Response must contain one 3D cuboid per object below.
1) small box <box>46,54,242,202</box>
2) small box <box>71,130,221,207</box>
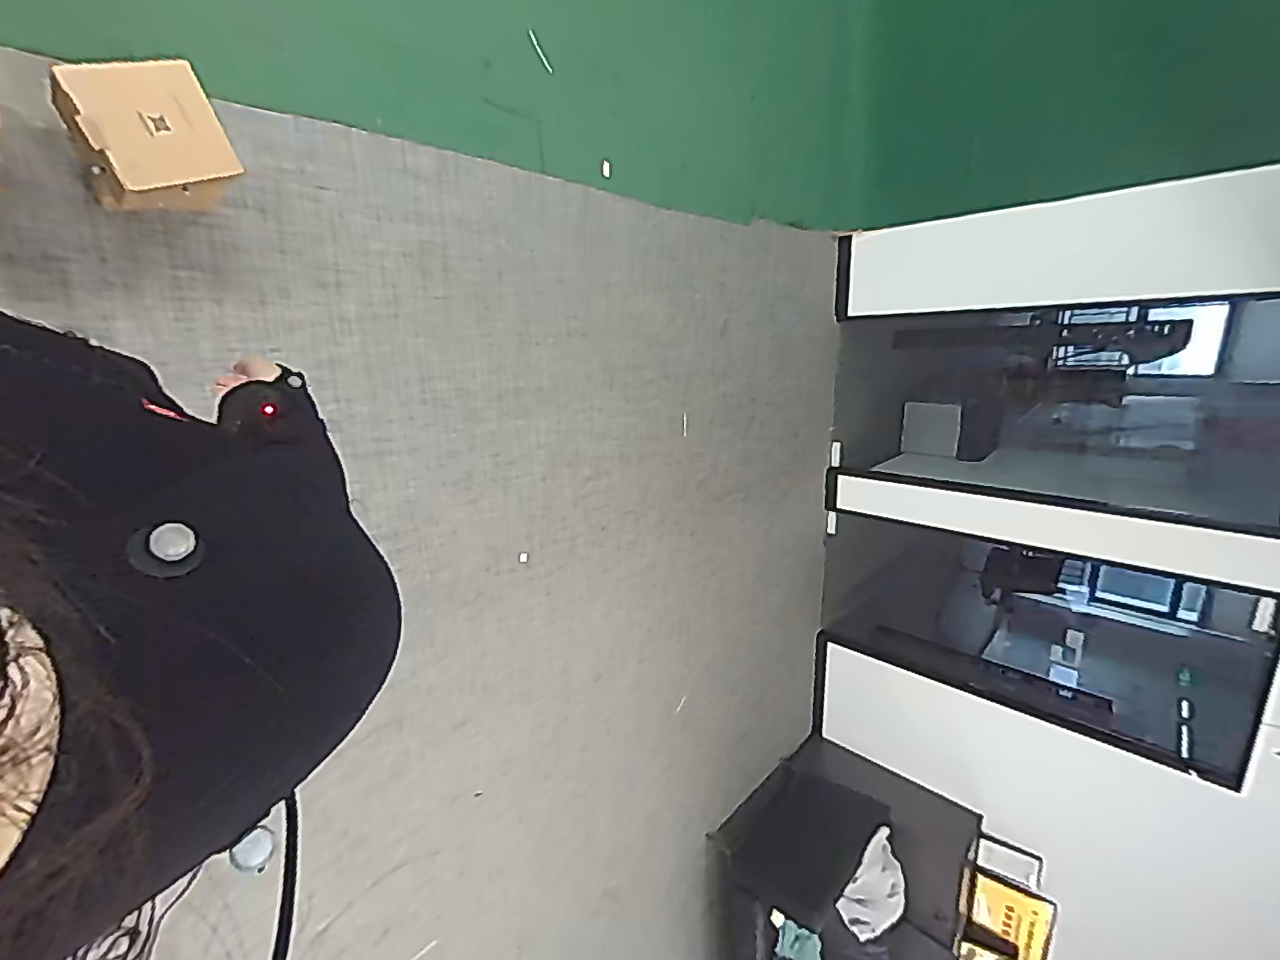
[{"bbox_3d":[-0.814,-0.575,0.895,0.179,0.176,0.168,-38,127,-35],"label":"small box"},{"bbox_3d":[-0.925,-0.614,1.007,0.179,0.176,0.168,-24,117,-42],"label":"small box"}]
